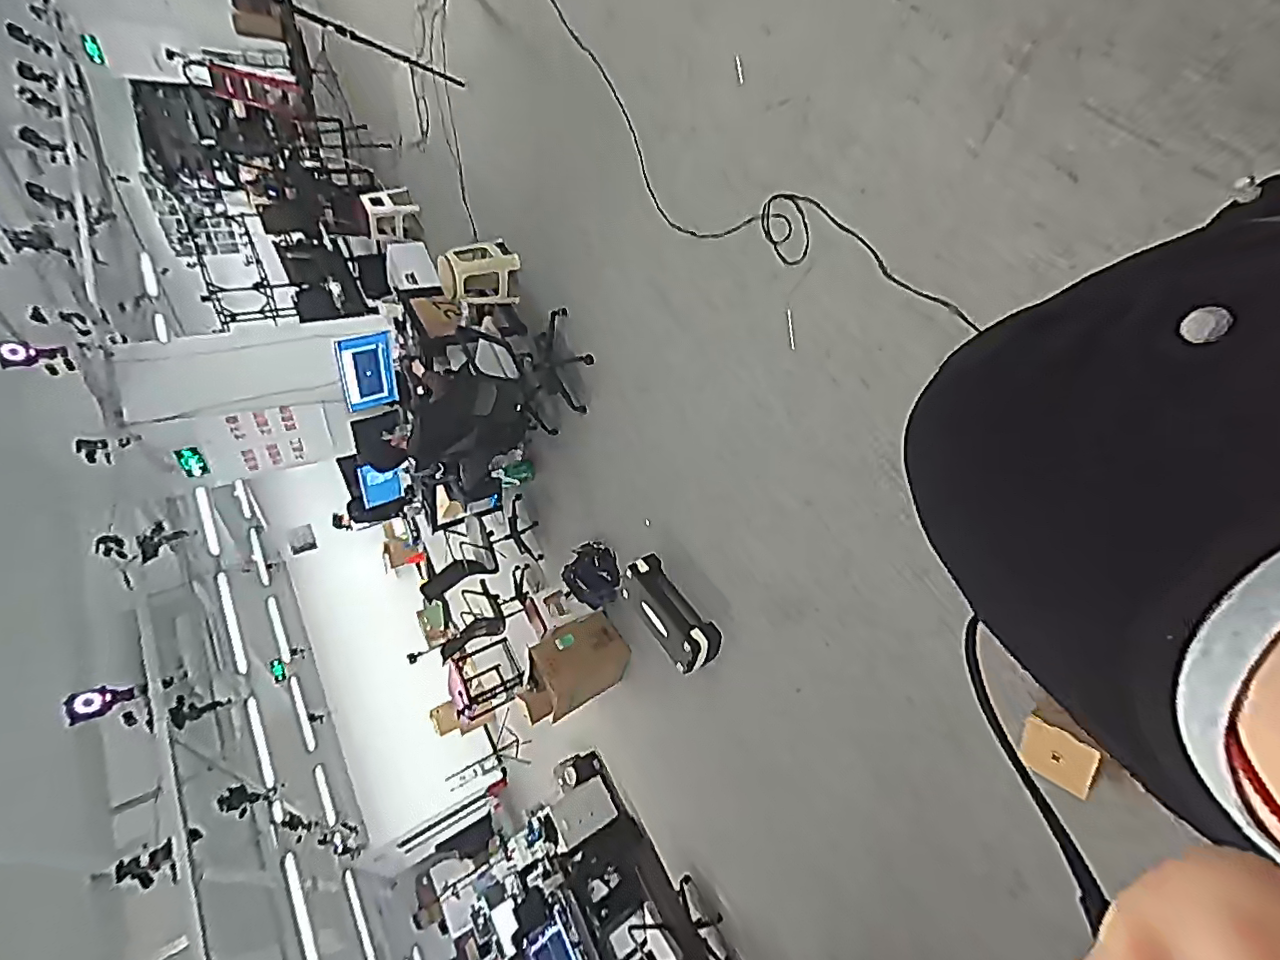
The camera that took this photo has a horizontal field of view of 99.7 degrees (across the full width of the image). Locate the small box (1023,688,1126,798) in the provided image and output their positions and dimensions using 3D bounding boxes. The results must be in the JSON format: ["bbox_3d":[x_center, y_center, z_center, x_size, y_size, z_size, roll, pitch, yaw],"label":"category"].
[{"bbox_3d":[1.195,0.713,1.486,0.168,0.176,0.179,25,129,52],"label":"small box"}]
